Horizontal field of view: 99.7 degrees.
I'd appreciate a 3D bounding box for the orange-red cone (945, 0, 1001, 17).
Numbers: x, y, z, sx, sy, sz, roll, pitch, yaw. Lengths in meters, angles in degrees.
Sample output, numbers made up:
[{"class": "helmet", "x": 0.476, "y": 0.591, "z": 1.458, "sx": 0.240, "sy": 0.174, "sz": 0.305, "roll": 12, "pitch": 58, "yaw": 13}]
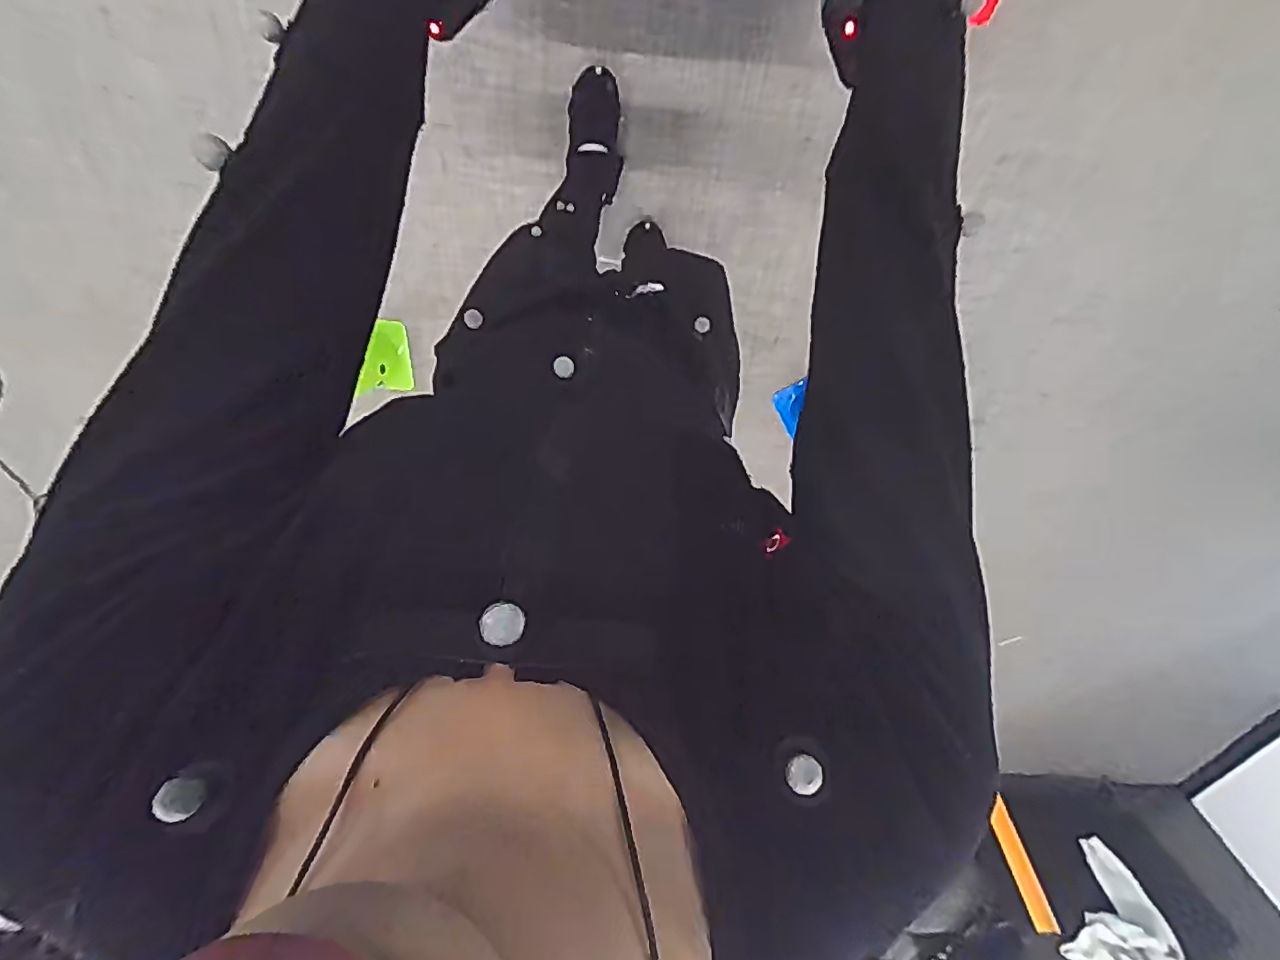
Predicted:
[{"class": "orange-red cone", "x": 0.632, "y": -0.911, "z": 0.863, "sx": 0.198, "sy": 0.360, "sz": 0.199, "roll": 14, "pitch": 125, "yaw": -10}]
